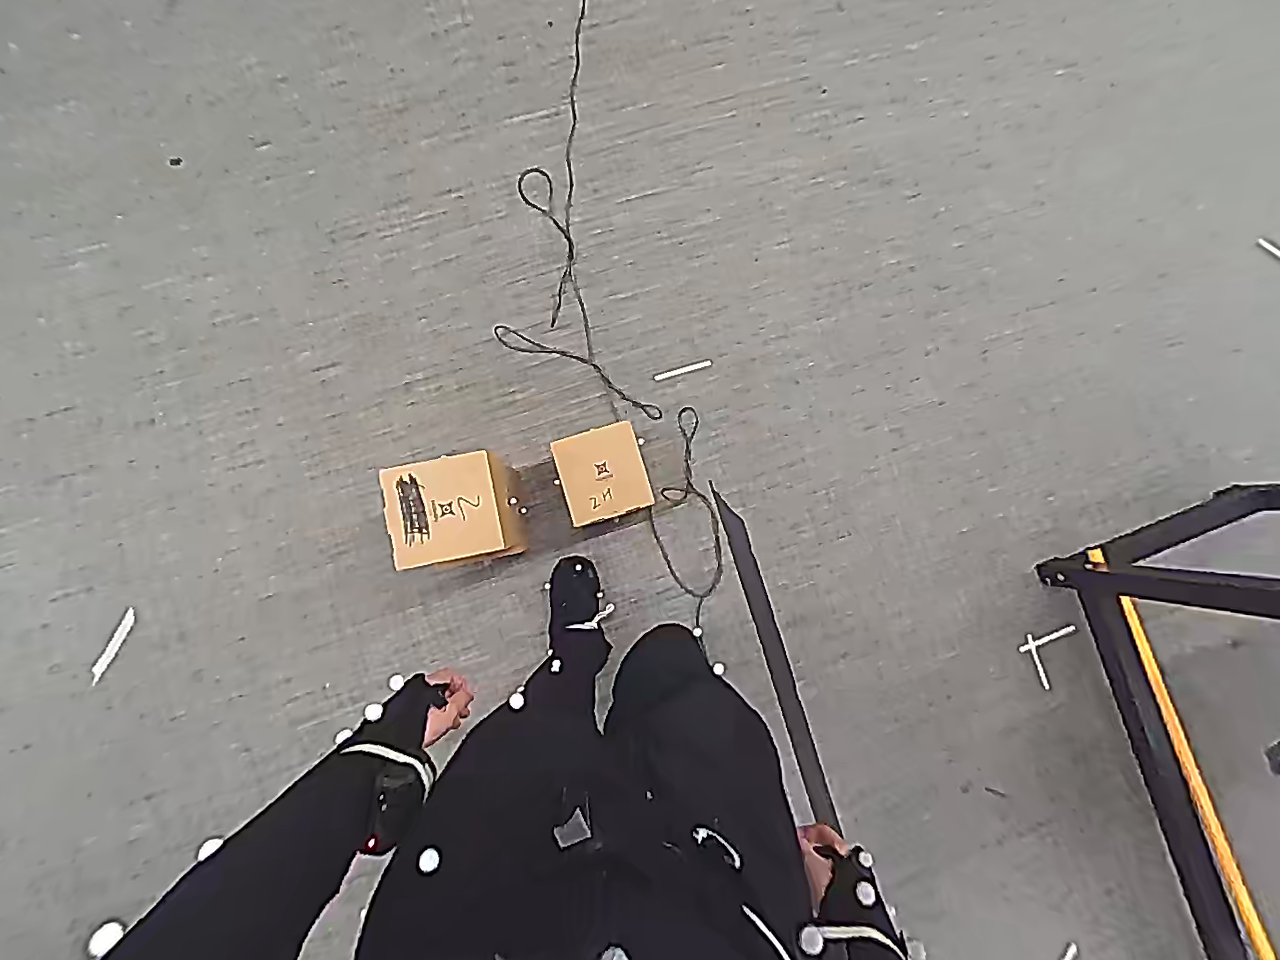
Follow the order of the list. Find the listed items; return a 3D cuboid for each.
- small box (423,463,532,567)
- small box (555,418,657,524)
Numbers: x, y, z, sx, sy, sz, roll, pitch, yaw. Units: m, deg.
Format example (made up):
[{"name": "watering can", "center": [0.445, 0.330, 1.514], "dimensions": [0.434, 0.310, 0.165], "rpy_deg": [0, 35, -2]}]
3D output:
[{"name": "small box", "center": [-0.323, 0.071, 1.103], "dimensions": [0.168, 0.176, 0.179], "rpy_deg": [-11, 88, -5]}, {"name": "small box", "center": [-0.072, -0.012, 1.129], "dimensions": [0.168, 0.176, 0.179], "rpy_deg": [-16, 88, -4]}]
